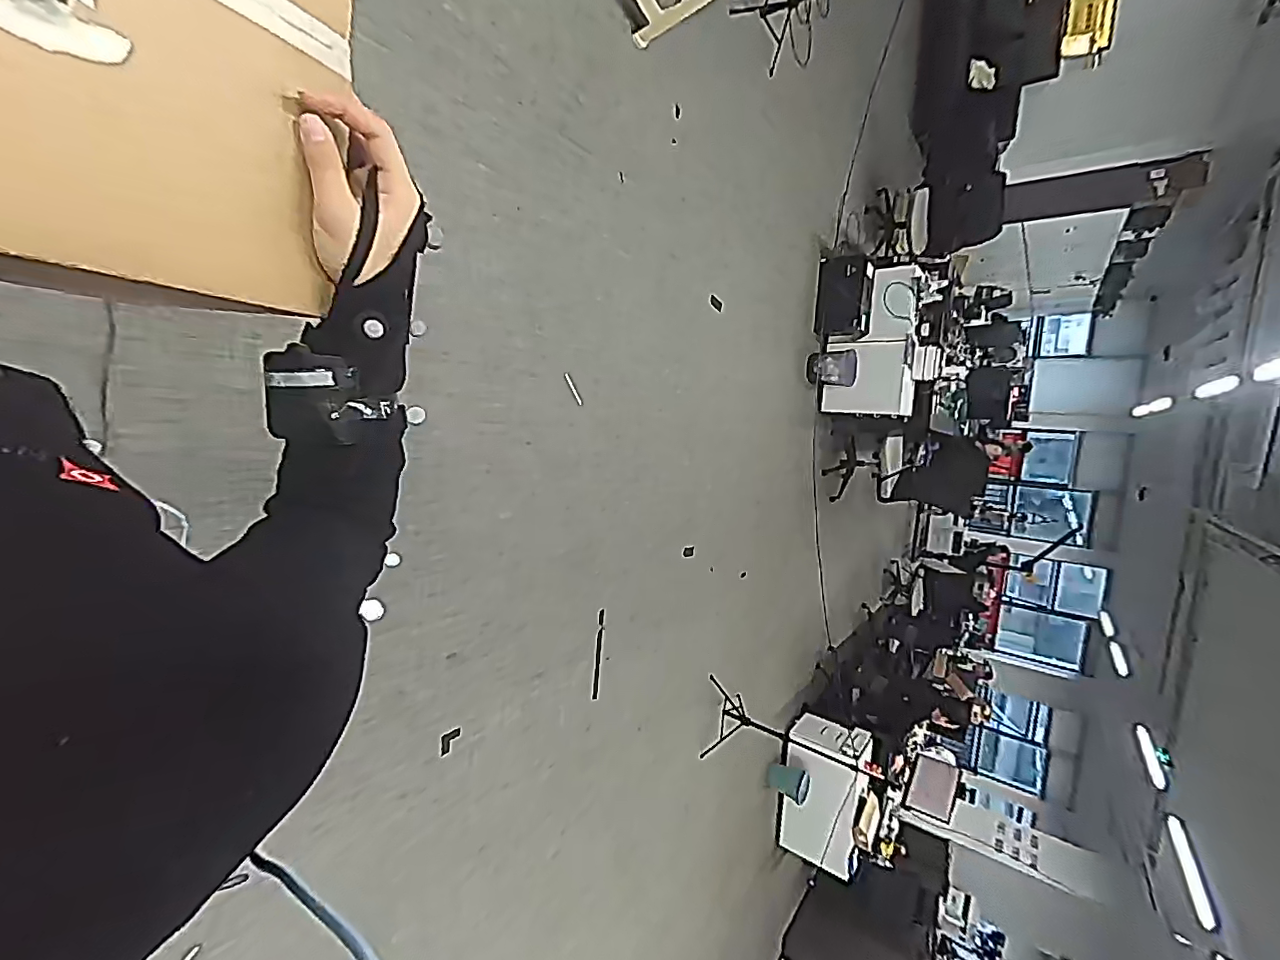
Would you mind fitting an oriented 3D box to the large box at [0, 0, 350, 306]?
[{"bbox_3d":[-0.420,-0.281,0.250,0.408,0.320,0.320,-6,107,-60],"label":"large box"}]
